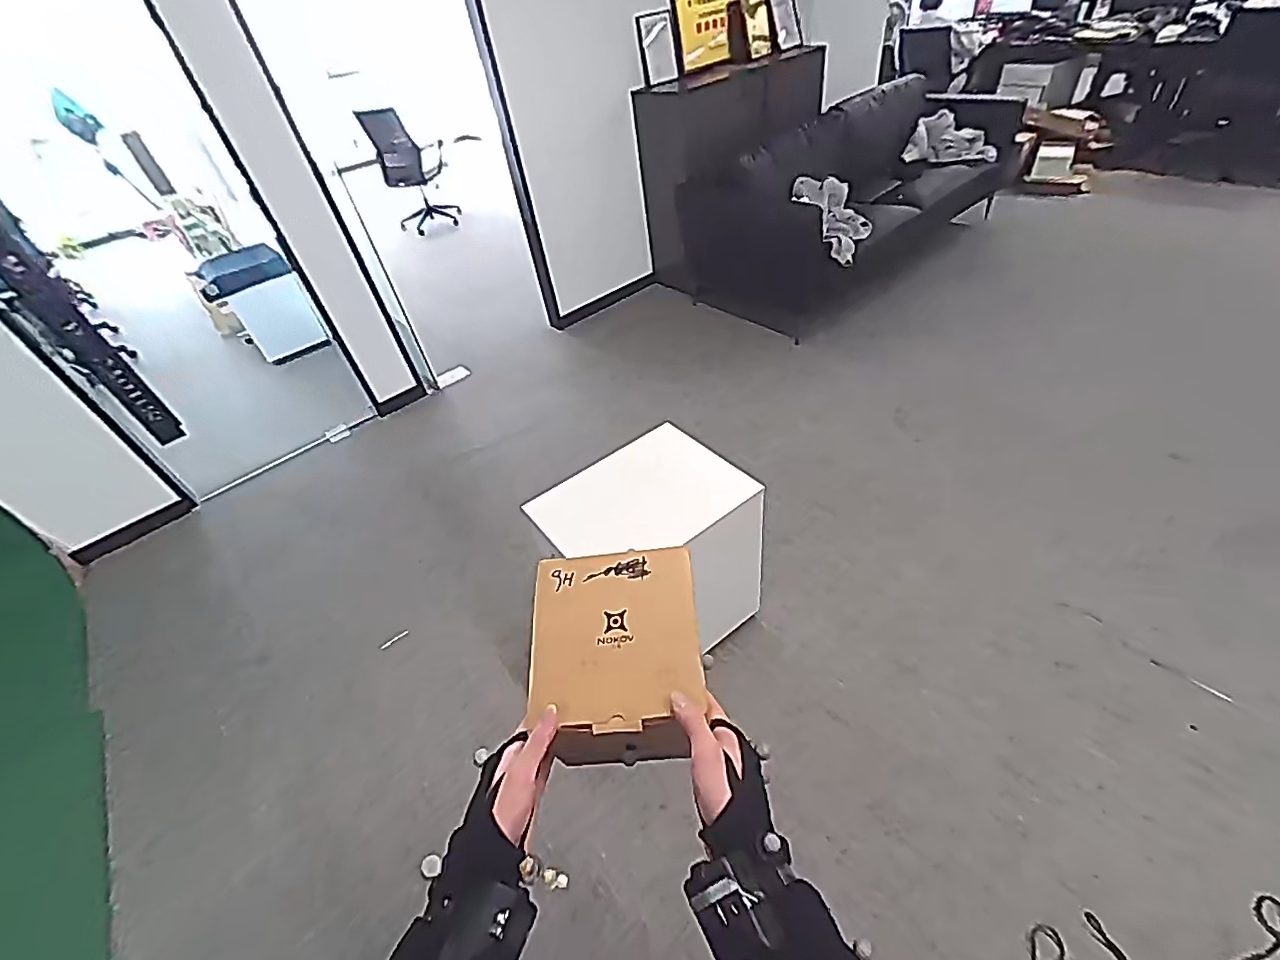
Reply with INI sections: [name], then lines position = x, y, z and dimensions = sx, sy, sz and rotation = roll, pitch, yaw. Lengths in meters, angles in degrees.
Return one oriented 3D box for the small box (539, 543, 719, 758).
[small box]
position = -0.008, 0.196, 0.600
dimensions = 0.168, 0.176, 0.179
rotation = -9, 52, 3
